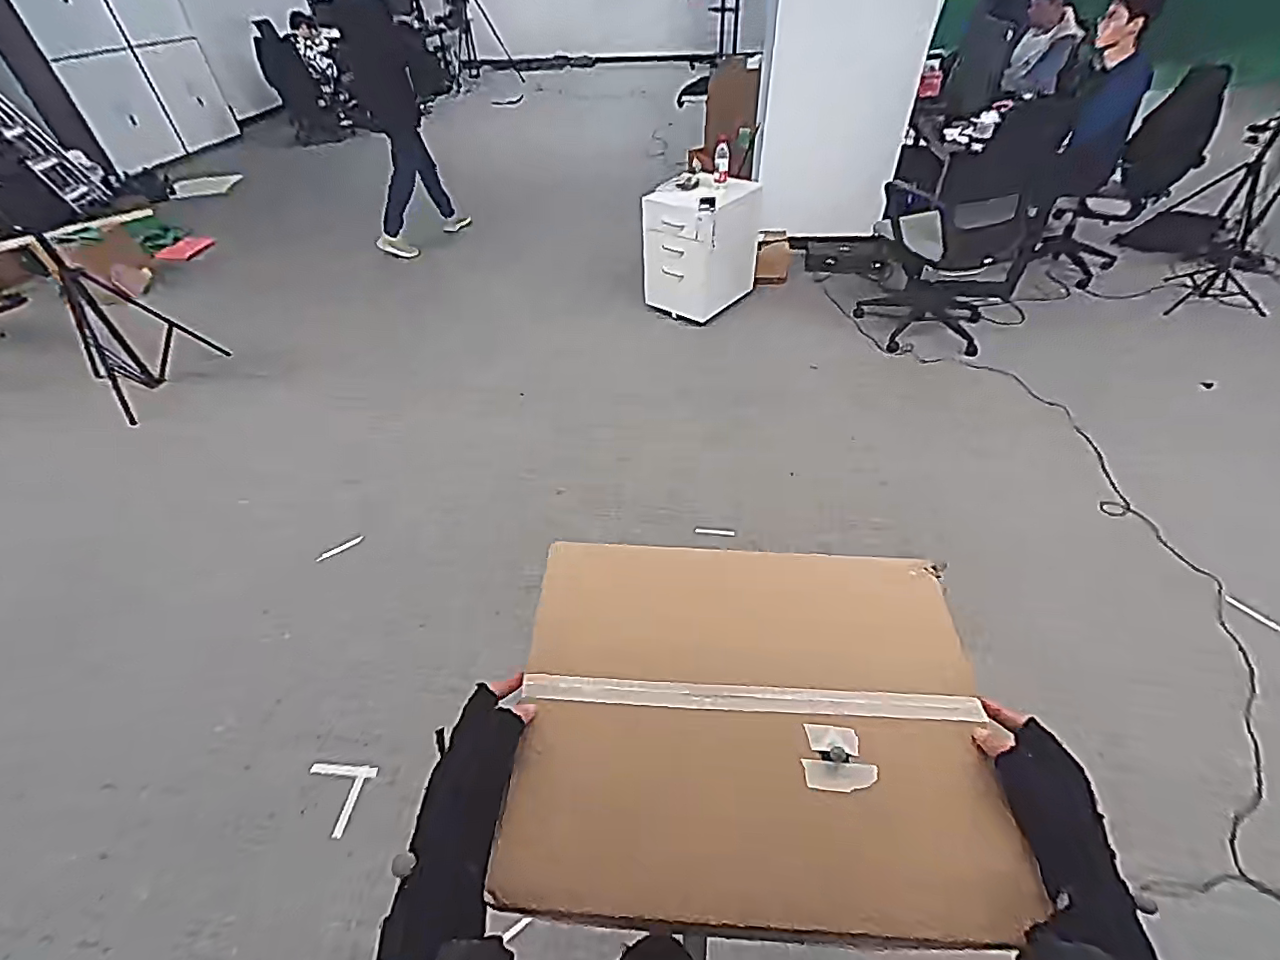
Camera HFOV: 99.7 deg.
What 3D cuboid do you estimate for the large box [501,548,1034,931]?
[{"bbox_3d":[0.096,0.294,0.606,0.408,0.320,0.320,3,50,2],"label":"large box"}]
